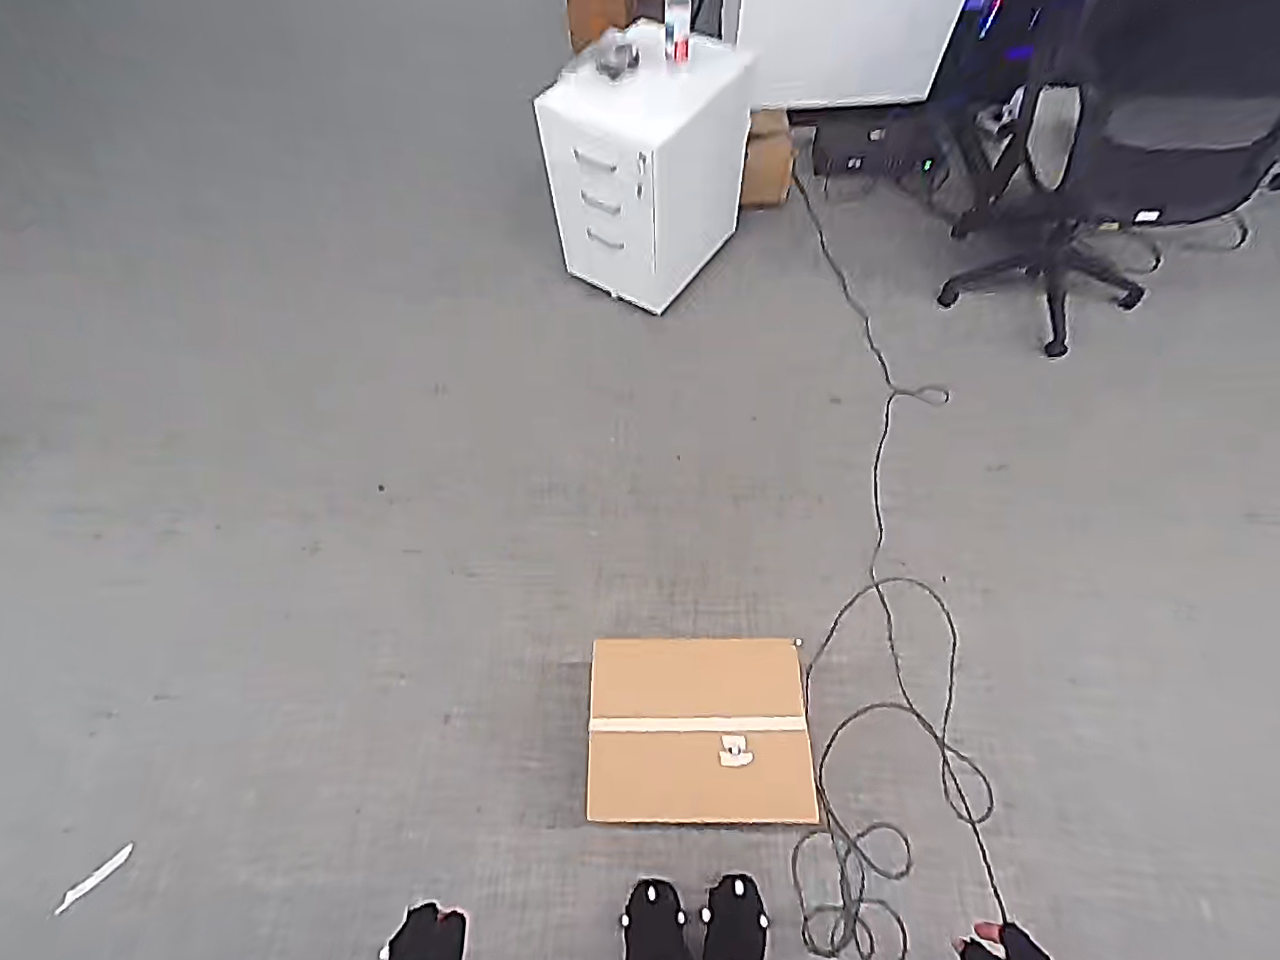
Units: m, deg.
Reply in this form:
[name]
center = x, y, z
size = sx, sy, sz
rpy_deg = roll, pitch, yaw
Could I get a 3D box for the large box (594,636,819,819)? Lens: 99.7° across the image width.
[large box]
center = 0.118, 0.525, 1.149
size = 0.408, 0.320, 0.320
rpy_deg = -1, 62, 2
